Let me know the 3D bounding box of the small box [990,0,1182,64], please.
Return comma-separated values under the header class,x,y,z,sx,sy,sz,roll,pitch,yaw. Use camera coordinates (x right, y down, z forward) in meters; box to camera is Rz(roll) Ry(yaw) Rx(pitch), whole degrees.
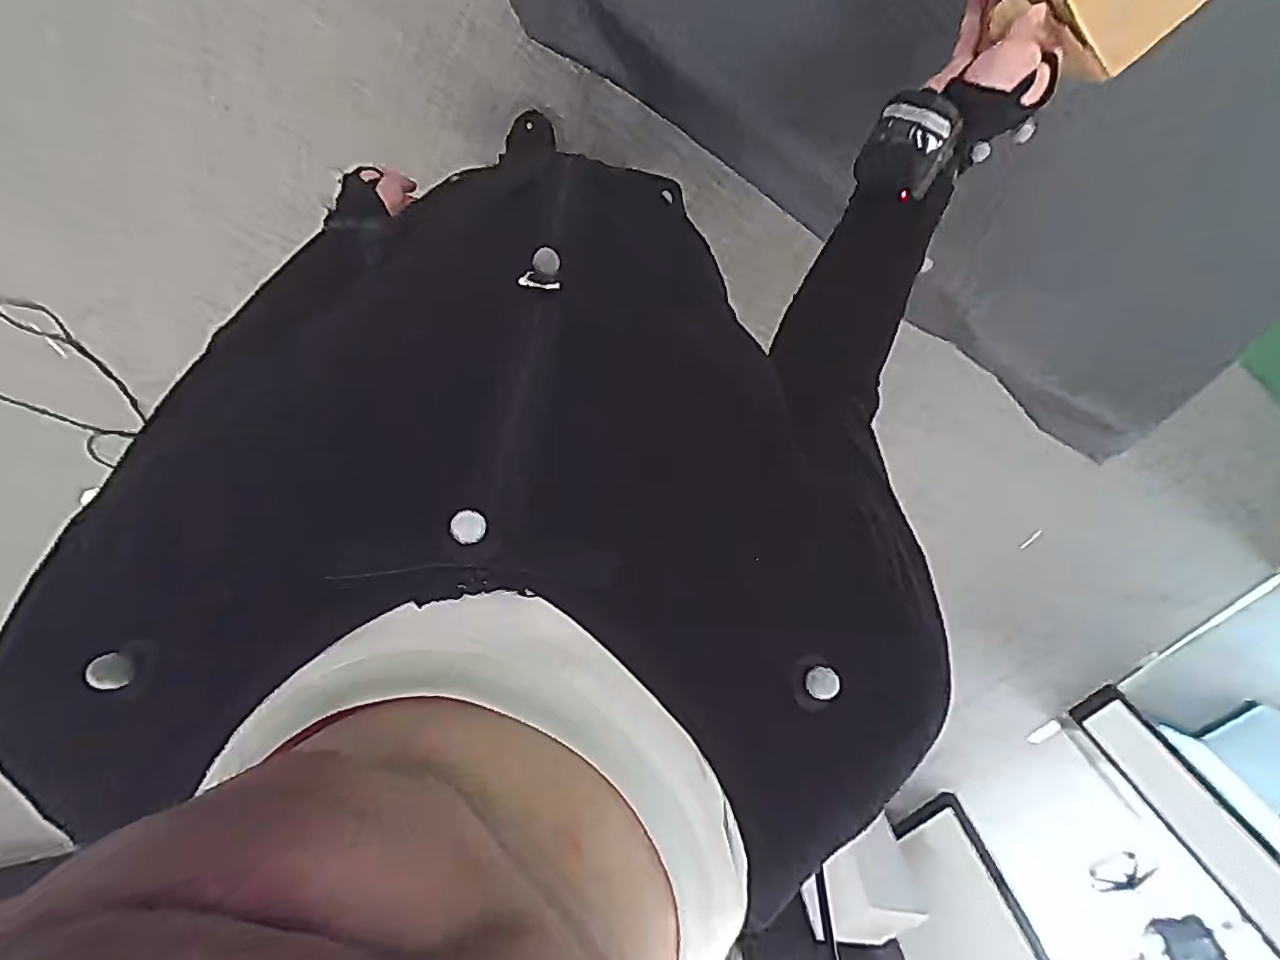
class,x,y,z,sx,sy,sz,roll,pitch,yaw
small box,0.366,-0.466,0.409,0.168,0.176,0.179,35,126,-22
